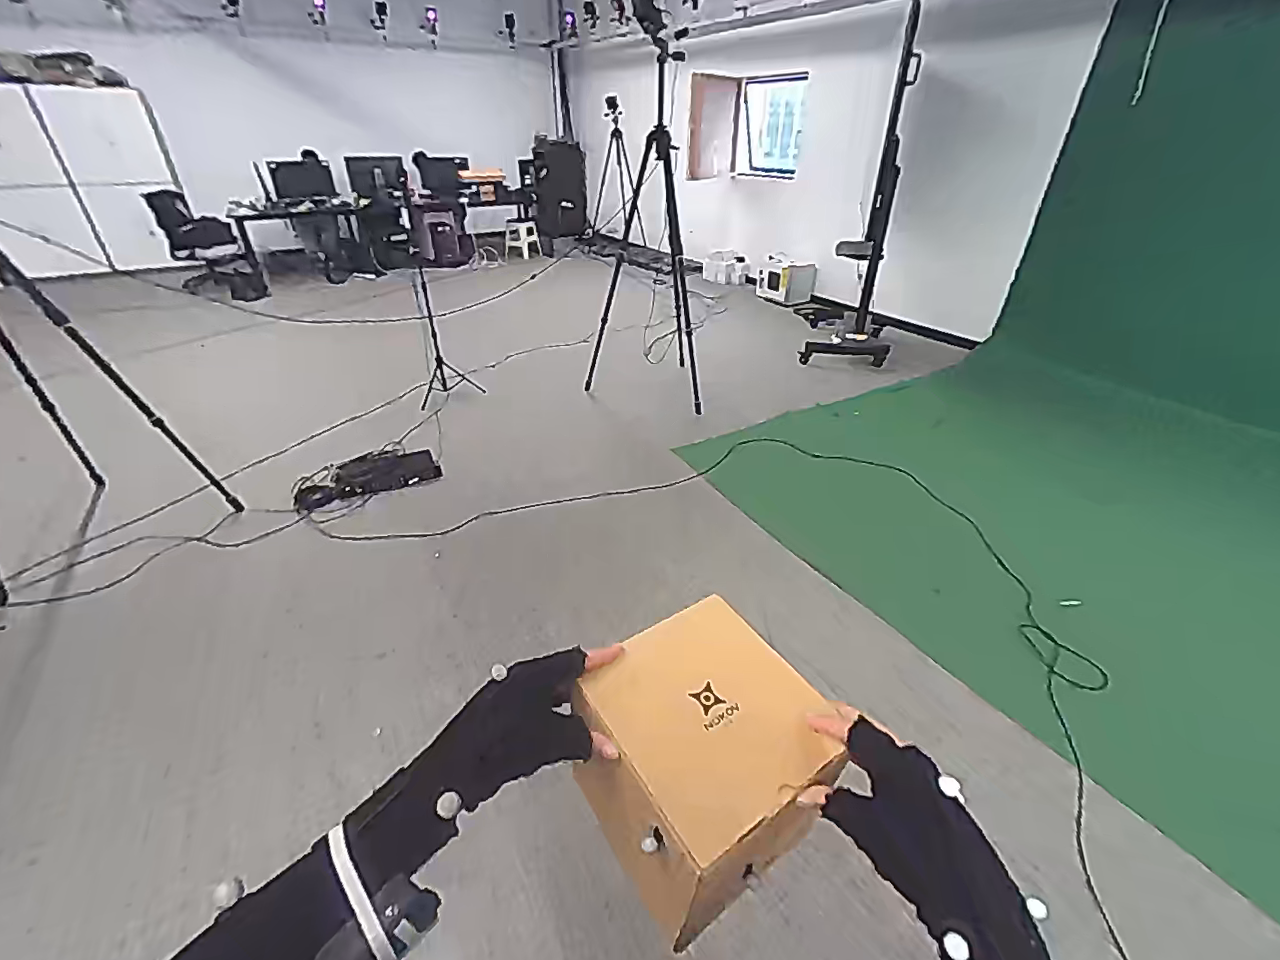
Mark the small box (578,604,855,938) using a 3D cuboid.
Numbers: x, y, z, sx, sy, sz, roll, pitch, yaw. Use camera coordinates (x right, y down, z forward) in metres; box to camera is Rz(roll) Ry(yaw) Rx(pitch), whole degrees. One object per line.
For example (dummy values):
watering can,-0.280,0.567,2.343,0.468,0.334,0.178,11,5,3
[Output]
small box,0.051,0.253,0.491,0.168,0.176,0.179,-18,42,-30
